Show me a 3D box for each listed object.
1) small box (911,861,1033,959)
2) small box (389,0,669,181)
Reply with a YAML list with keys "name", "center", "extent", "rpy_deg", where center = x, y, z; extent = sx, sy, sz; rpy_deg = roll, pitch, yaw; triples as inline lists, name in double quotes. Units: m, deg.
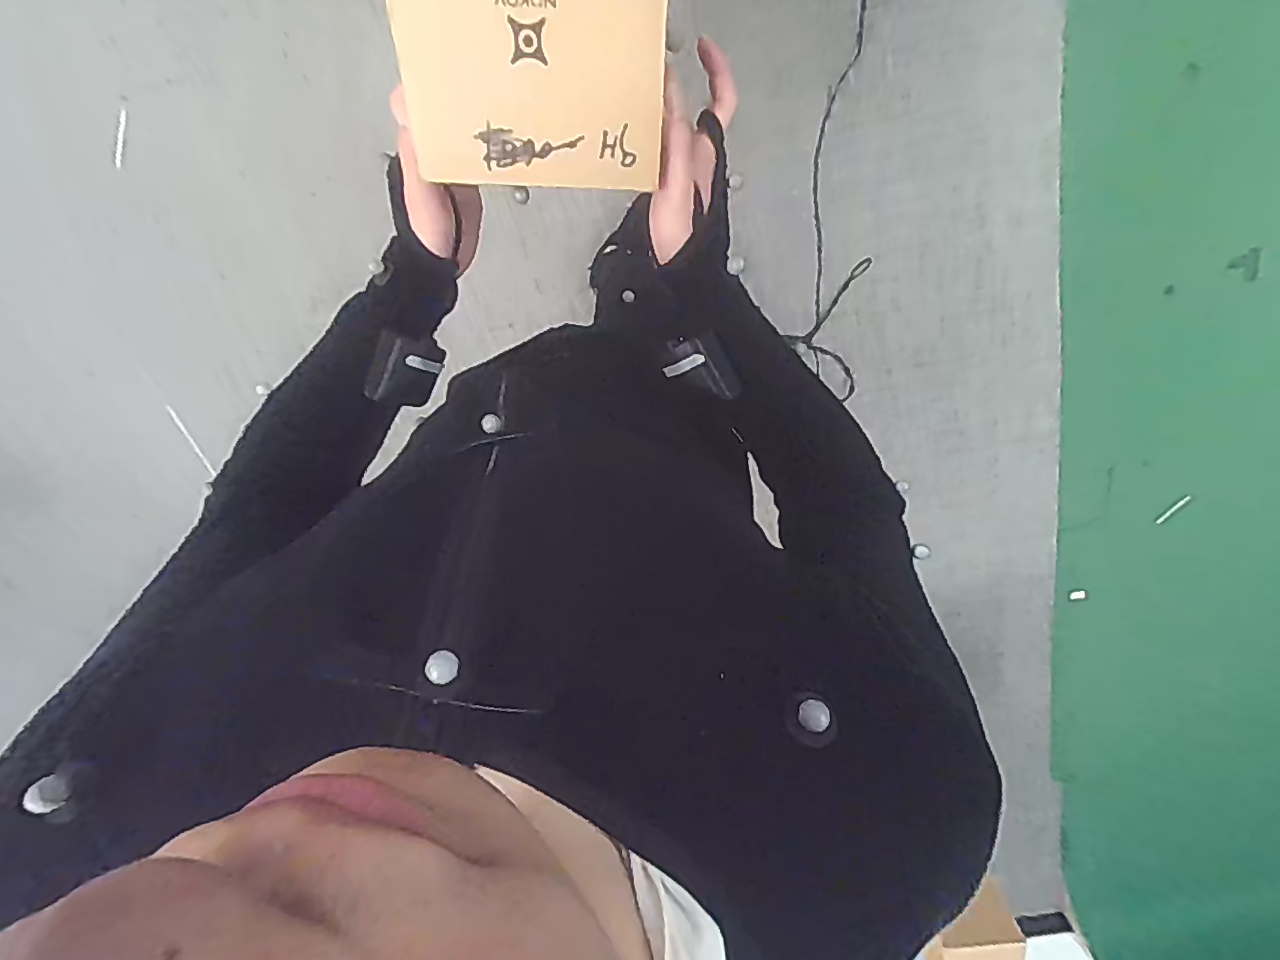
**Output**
- name: "small box"
  center: [0.709, 0.969, 1.175]
  extent: [0.168, 0.176, 0.179]
  rpy_deg: [-9, 113, 5]
- name: "small box"
  center: [-0.064, -0.323, 0.381]
  extent: [0.168, 0.176, 0.179]
  rpy_deg: [3, 126, 0]
